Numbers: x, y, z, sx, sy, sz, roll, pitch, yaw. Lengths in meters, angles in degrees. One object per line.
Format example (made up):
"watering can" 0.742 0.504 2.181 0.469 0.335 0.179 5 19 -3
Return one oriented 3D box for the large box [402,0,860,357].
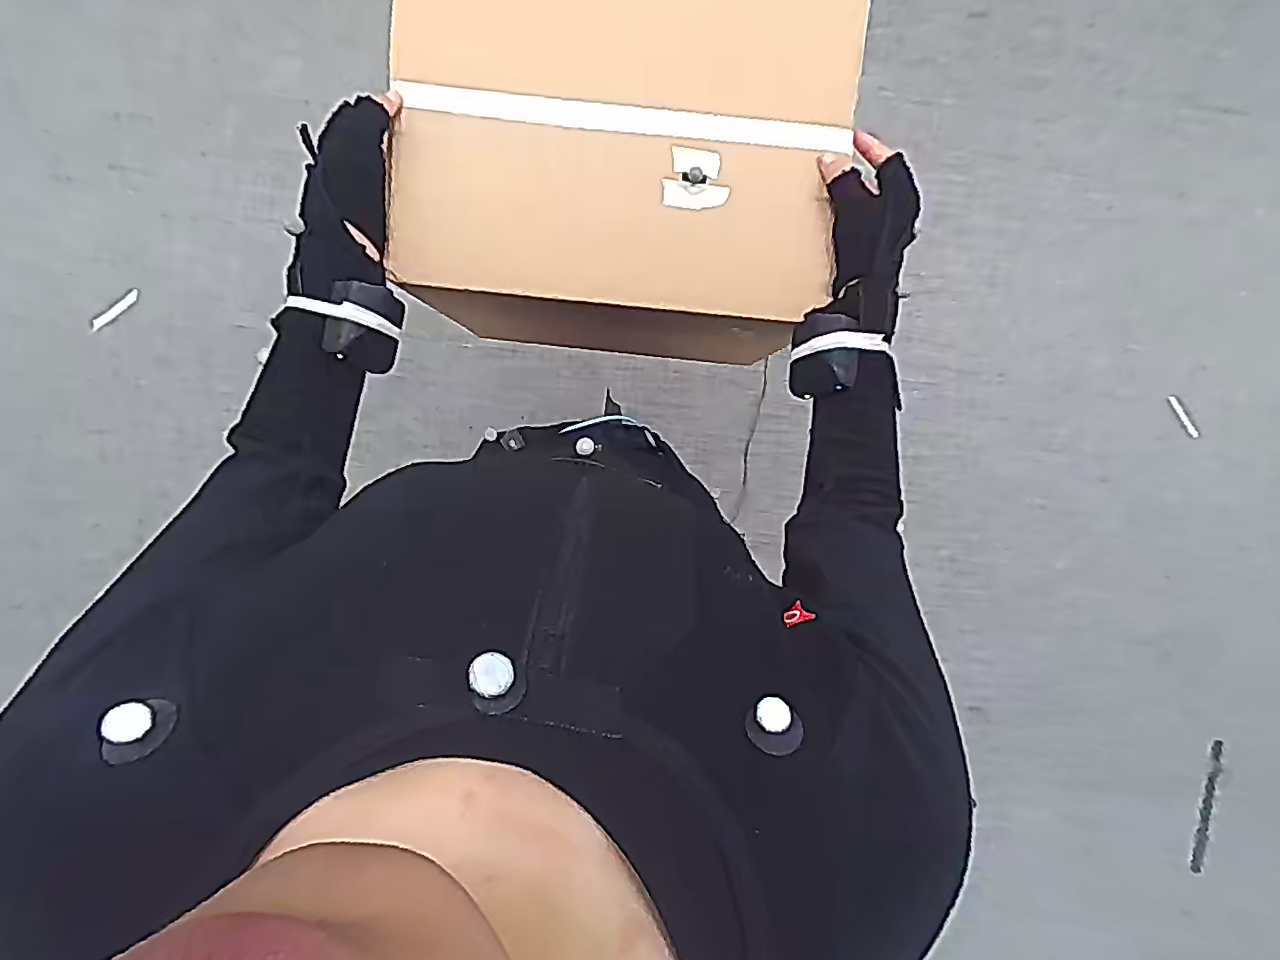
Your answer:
"large box" -0.016 -0.333 0.637 0.408 0.320 0.320 5 96 -2
